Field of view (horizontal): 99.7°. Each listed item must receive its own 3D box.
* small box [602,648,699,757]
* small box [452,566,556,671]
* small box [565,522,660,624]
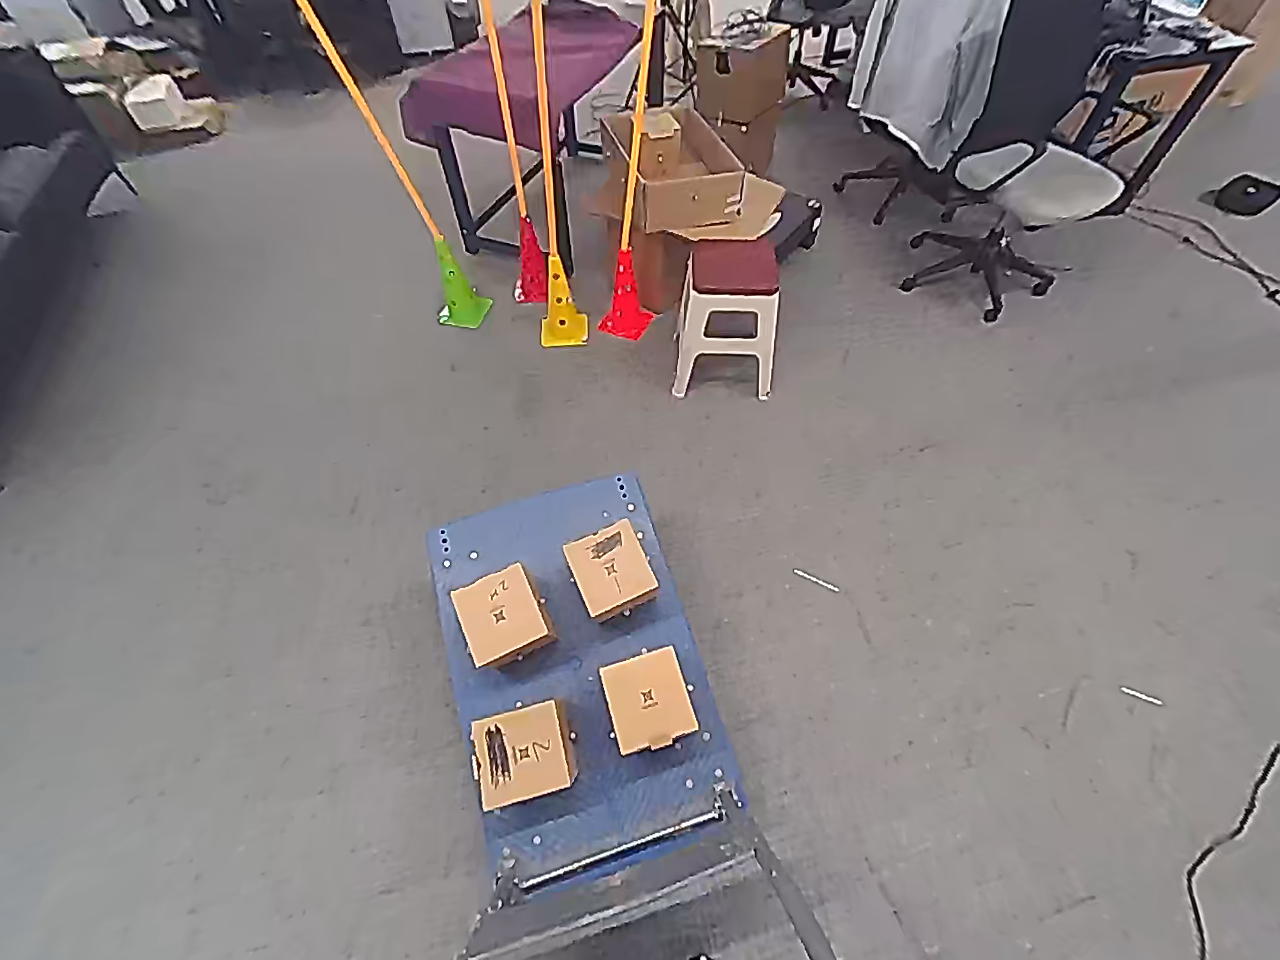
[{"bbox_3d":[0.018,0.485,1.189,0.168,0.176,0.179,-16,71,-6],"label":"small box"},{"bbox_3d":[-0.305,0.322,1.244,0.168,0.176,0.179,-23,72,-10],"label":"small box"},{"bbox_3d":[-0.065,0.226,1.282,0.168,0.176,0.179,-23,72,-8],"label":"small box"}]
